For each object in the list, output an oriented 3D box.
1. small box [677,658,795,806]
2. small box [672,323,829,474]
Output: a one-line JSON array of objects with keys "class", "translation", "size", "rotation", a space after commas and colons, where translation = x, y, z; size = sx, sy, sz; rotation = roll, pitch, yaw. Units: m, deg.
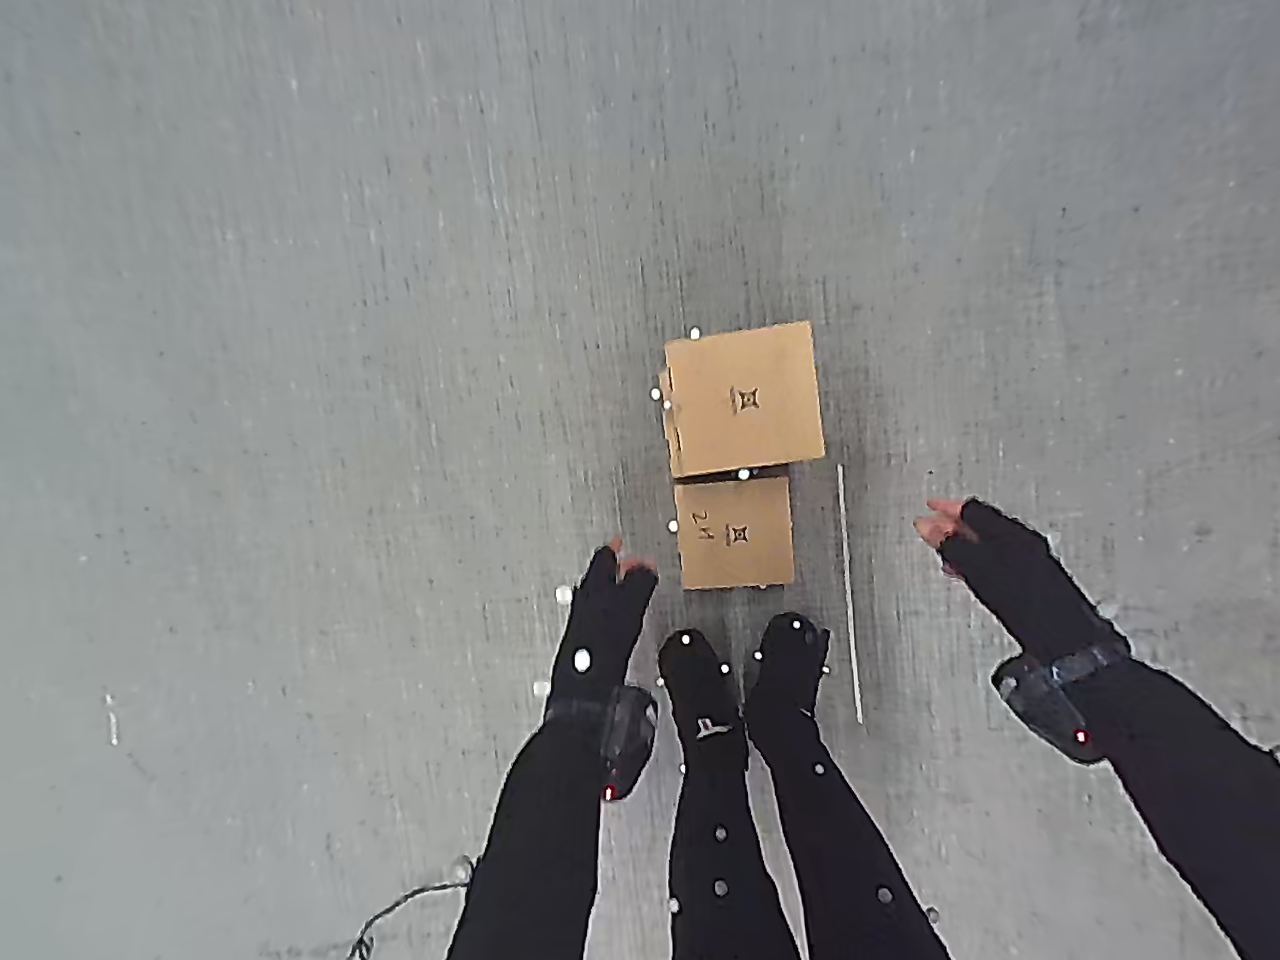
[{"class": "small box", "translation": [0.162, 0.439, 0.962], "size": [0.168, 0.176, 0.179], "rotation": [-1, 97, -7]}, {"class": "small box", "translation": [0.137, -0.104, 0.728], "size": [0.179, 0.176, 0.168], "rotation": [-7, 94, 5]}]
